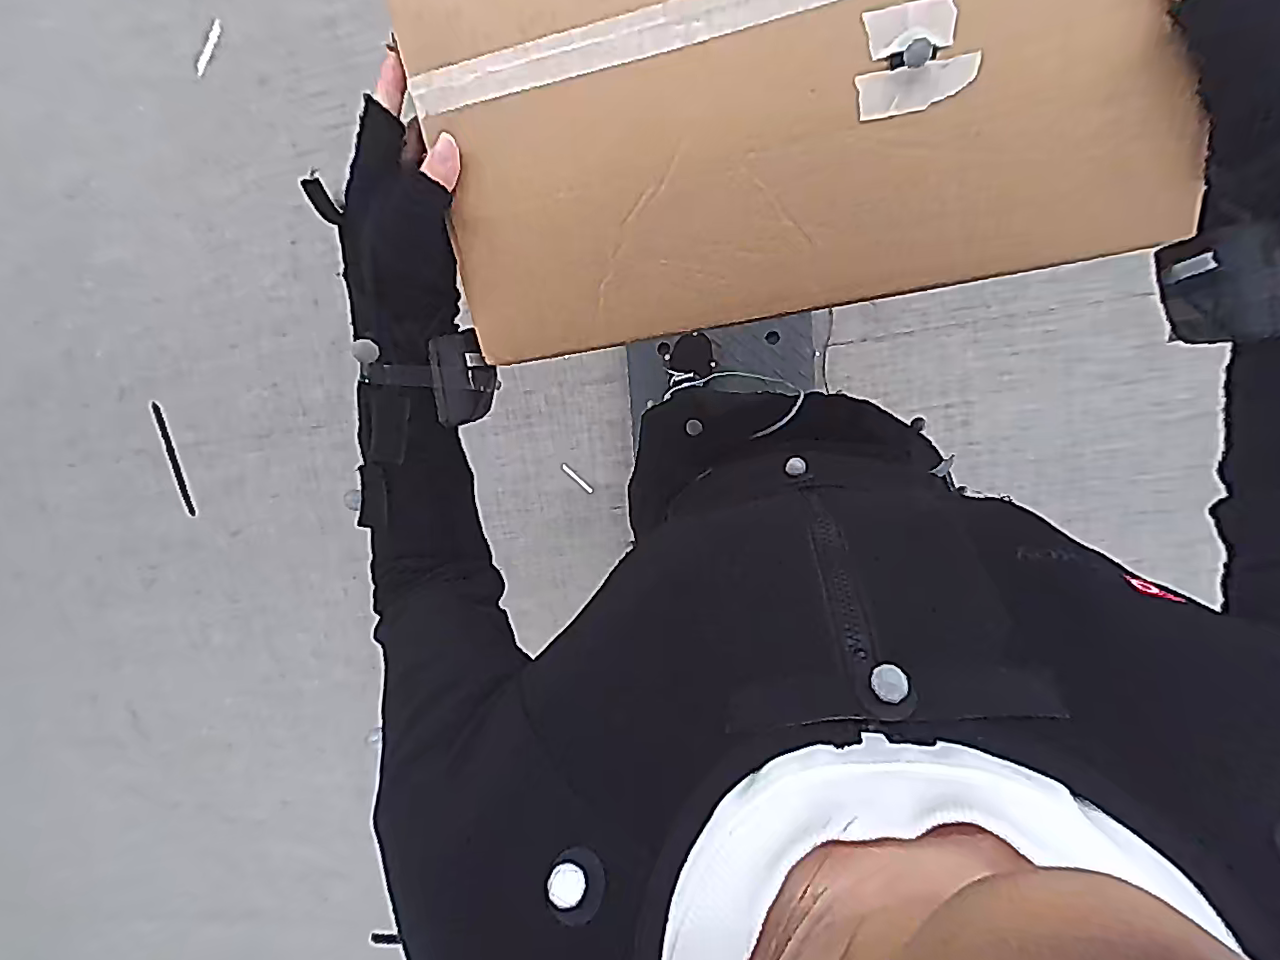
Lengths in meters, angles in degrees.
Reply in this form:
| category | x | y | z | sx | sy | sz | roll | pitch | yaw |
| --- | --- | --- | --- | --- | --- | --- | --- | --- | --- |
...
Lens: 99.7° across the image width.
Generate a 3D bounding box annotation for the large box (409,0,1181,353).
| category | x | y | z | sx | sy | sz | roll | pitch | yaw |
| --- | --- | --- | --- | --- | --- | --- | --- | --- | --- |
| large box | 0.085 | -0.303 | 0.432 | 0.408 | 0.320 | 0.320 | -8 | 107 | 10 |
